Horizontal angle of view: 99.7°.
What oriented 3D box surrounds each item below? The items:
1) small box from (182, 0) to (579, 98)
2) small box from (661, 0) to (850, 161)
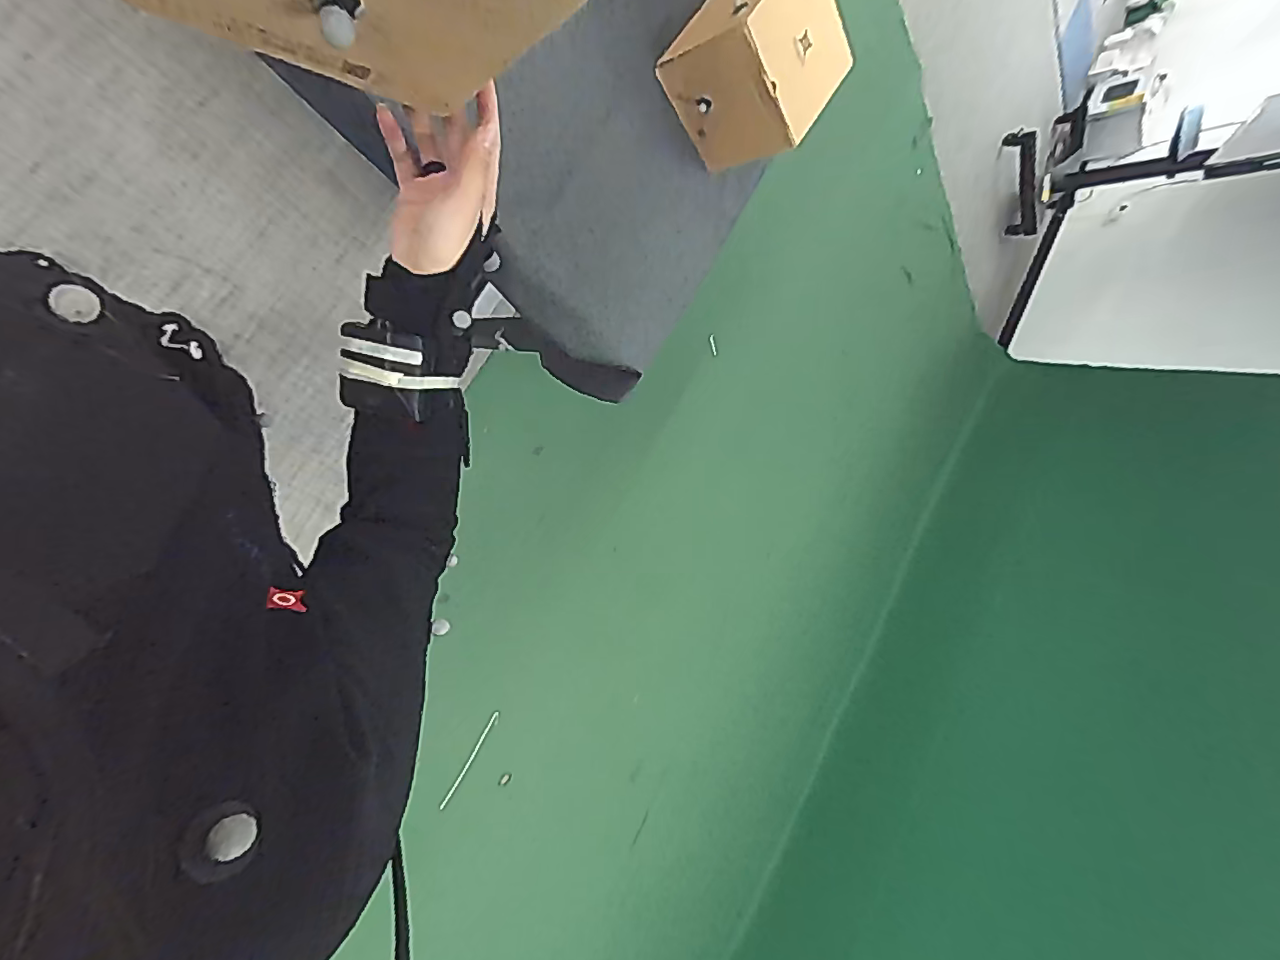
[{"bbox_3d":[-0.129,-0.301,0.225,0.168,0.176,0.179,-7,106,-41],"label":"small box"},{"bbox_3d":[0.161,-0.592,0.764,0.168,0.176,0.179,42,76,-41],"label":"small box"}]
